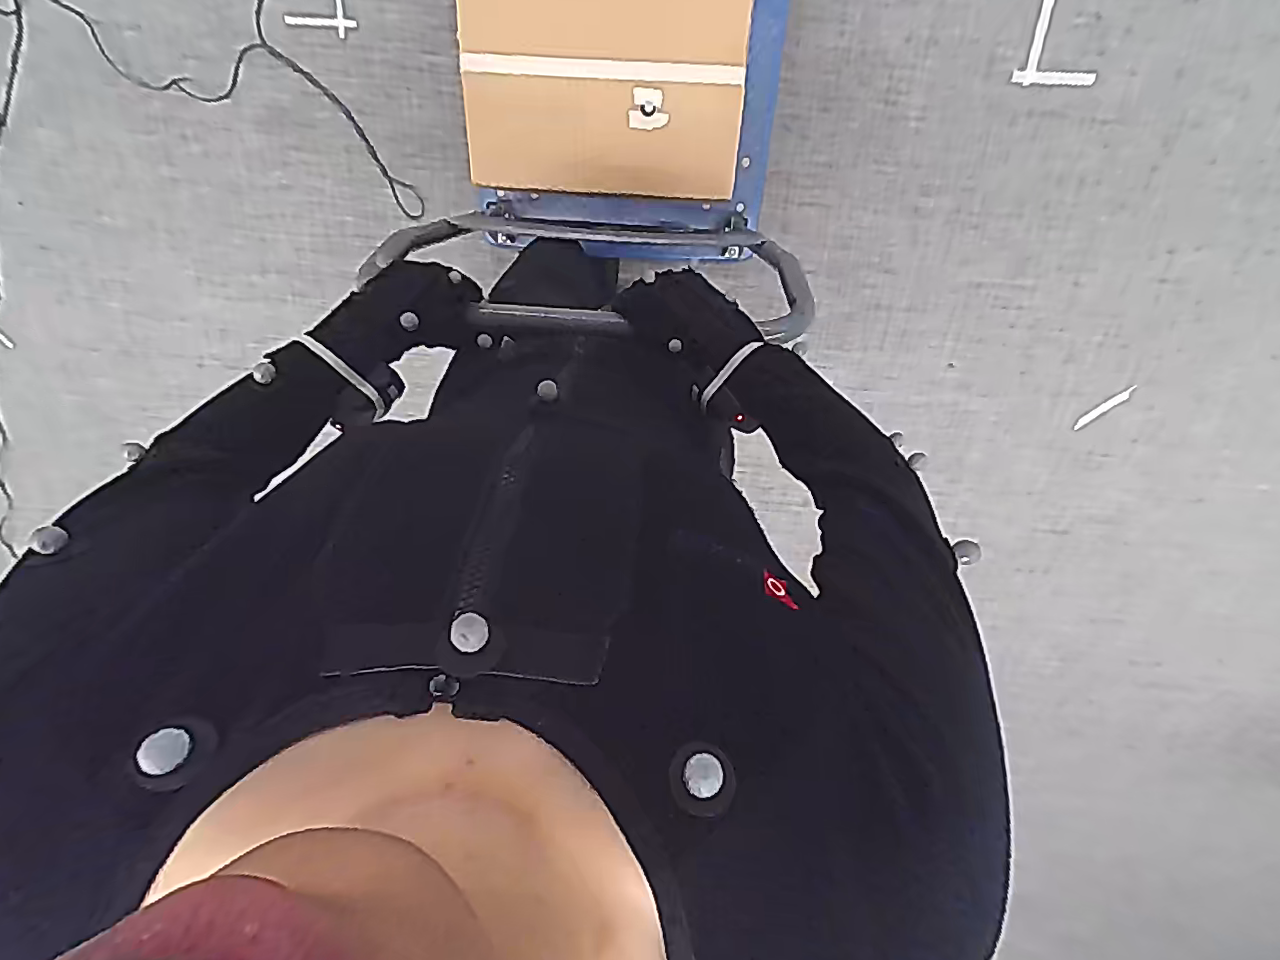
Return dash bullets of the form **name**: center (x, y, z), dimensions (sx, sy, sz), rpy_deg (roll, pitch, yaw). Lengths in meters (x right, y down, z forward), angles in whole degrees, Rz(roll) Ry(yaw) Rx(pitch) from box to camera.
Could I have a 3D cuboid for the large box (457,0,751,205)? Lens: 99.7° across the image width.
- **large box**: center (-0.052, -0.639, 0.899), dimensions (0.408, 0.320, 0.320), rpy_deg (3, 117, -1)
